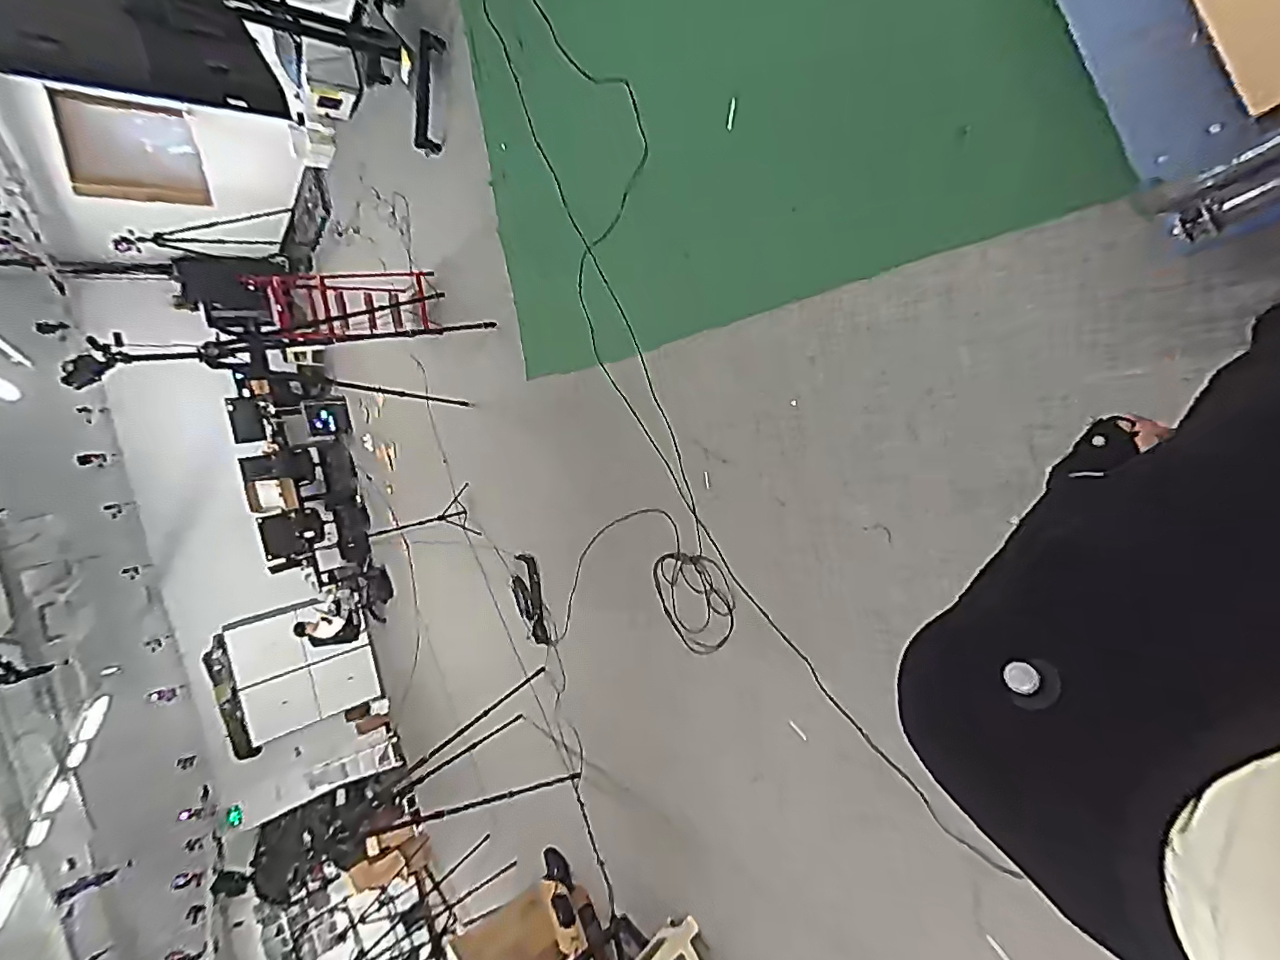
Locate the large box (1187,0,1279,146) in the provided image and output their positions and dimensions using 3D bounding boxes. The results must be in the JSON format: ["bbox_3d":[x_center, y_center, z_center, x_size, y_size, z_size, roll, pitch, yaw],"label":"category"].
[{"bbox_3d":[0.979,-0.761,0.736,0.320,0.320,0.408,-26,81,52],"label":"large box"}]
